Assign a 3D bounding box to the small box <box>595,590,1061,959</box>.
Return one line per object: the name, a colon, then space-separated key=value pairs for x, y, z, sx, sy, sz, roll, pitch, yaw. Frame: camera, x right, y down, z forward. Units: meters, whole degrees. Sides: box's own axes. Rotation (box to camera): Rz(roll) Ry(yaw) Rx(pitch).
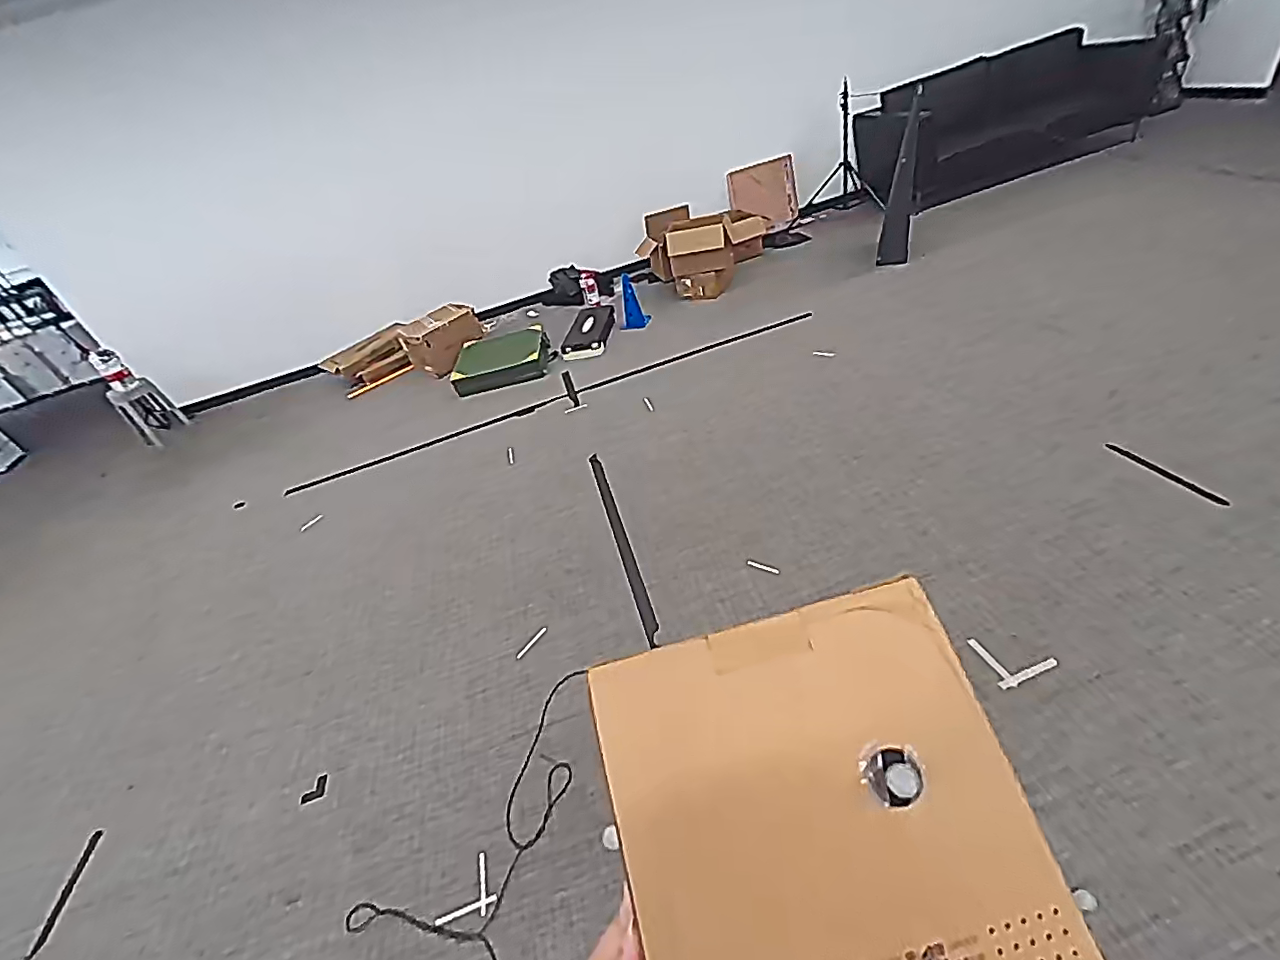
small box: x=0.085 y=0.182 z=0.316 sx=0.168 sy=0.179 sz=0.176 roll=-16 pitch=67 yaw=0
